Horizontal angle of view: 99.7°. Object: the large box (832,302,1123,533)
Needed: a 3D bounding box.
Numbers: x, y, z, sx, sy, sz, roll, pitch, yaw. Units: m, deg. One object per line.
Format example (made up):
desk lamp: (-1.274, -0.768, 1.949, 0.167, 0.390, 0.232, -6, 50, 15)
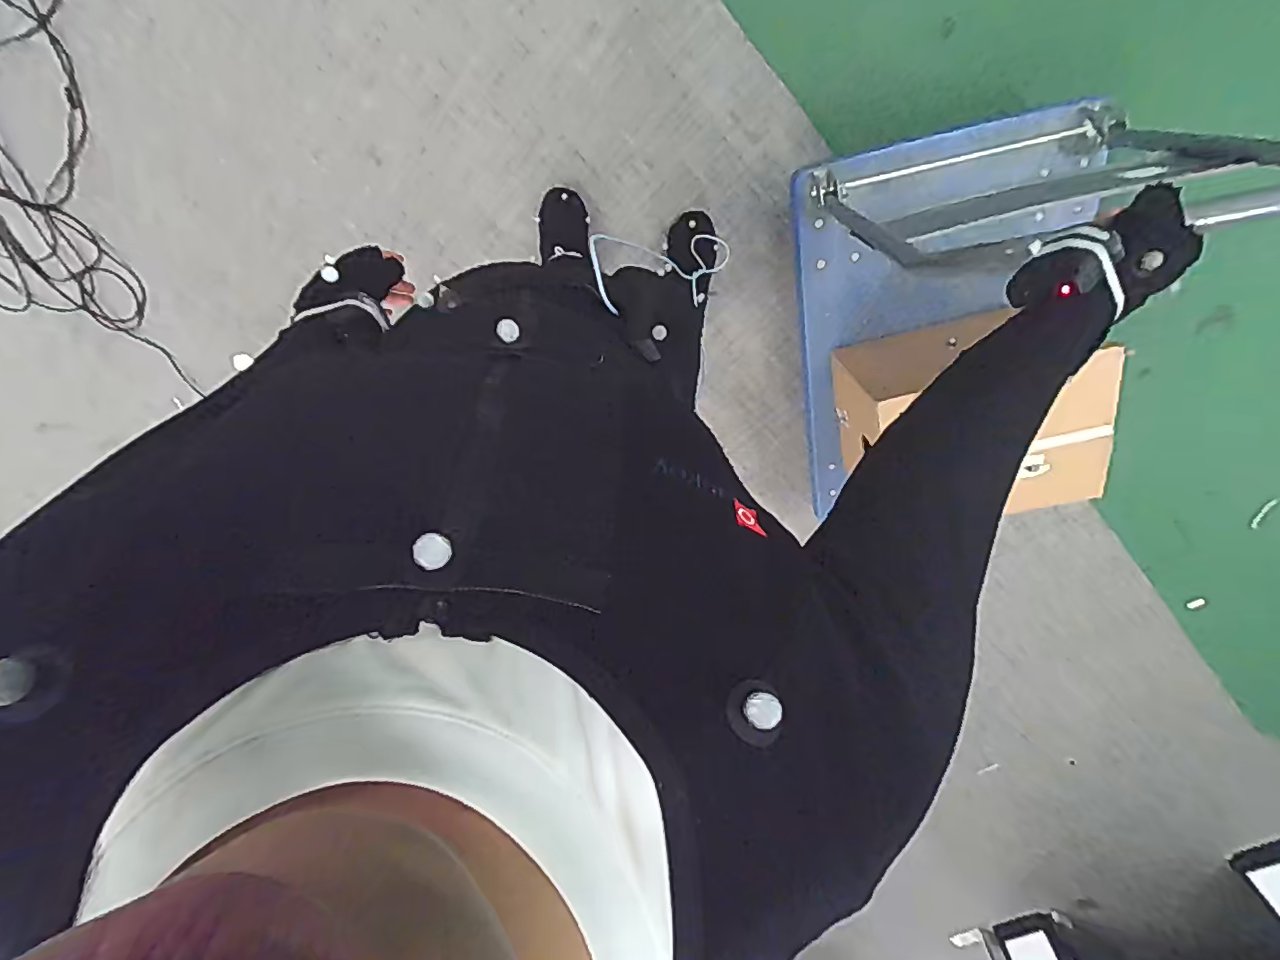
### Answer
large box: (0.658, -0.137, 1.126, 0.408, 0.320, 0.320, -14, 120, 10)
